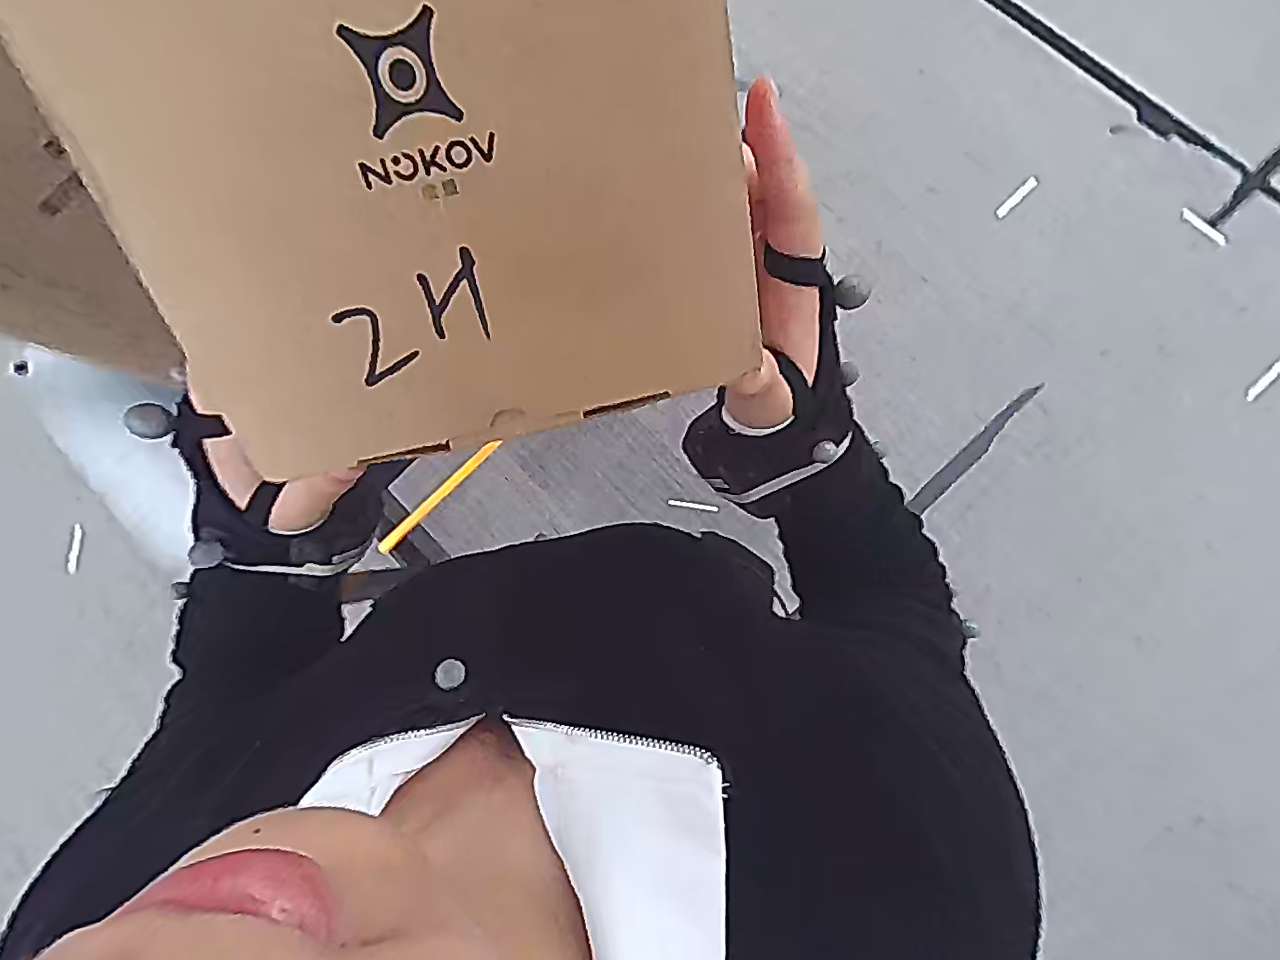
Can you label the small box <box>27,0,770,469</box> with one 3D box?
[{"bbox_3d":[-0.059,-0.127,0.209,0.168,0.176,0.179,-11,115,1],"label":"small box"}]
